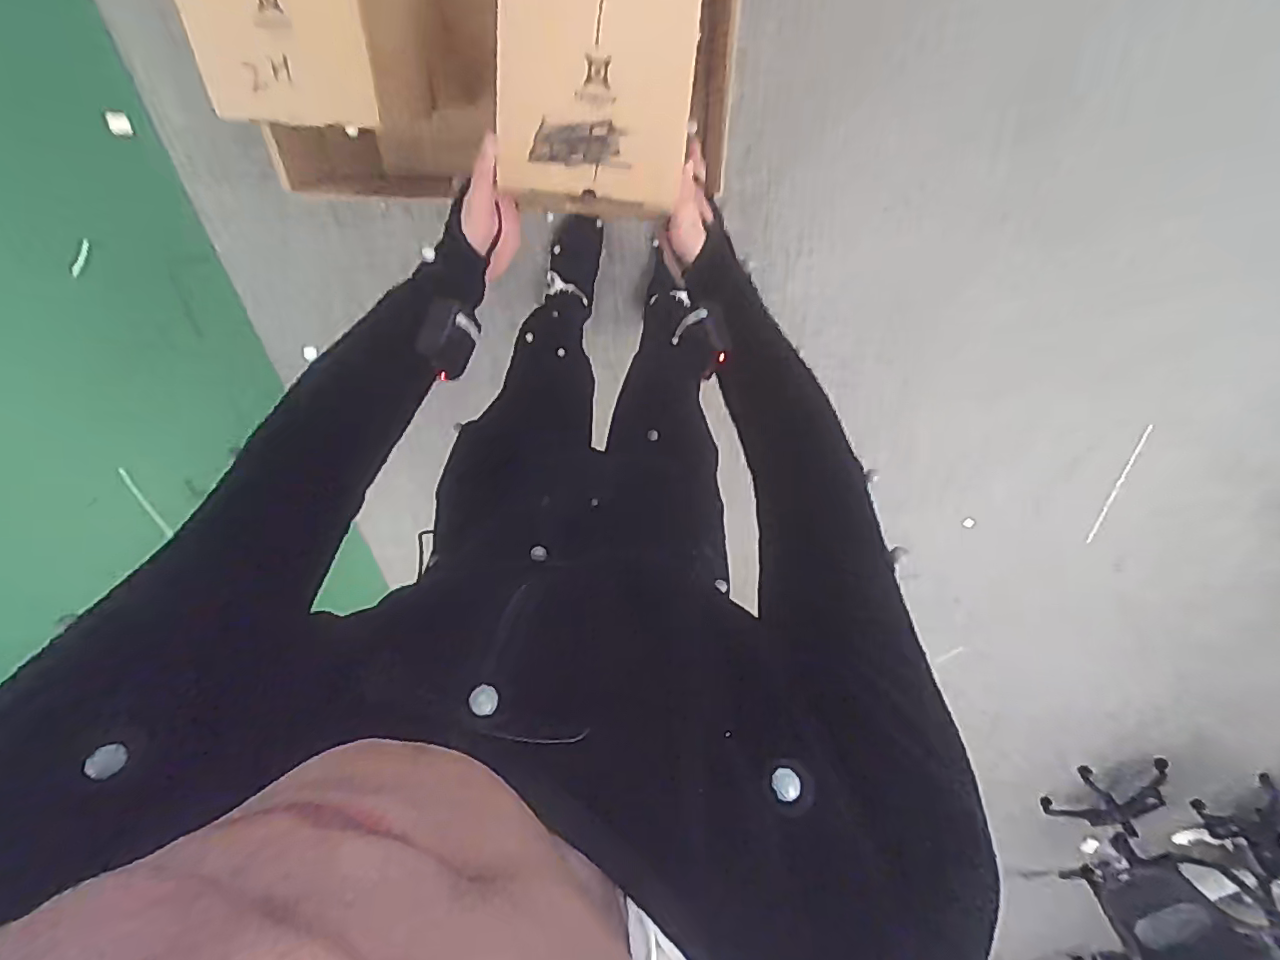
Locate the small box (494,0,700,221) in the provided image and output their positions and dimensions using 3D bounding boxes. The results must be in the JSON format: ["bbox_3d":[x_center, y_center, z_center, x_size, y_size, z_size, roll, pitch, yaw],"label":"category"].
[{"bbox_3d":[-0.041,-0.359,0.527,0.168,0.176,0.179,5,111,-4],"label":"small box"}]

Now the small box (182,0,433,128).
[{"bbox_3d":[-0.333,-0.476,0.557,0.168,0.176,0.179,2,127,-1],"label":"small box"}]
